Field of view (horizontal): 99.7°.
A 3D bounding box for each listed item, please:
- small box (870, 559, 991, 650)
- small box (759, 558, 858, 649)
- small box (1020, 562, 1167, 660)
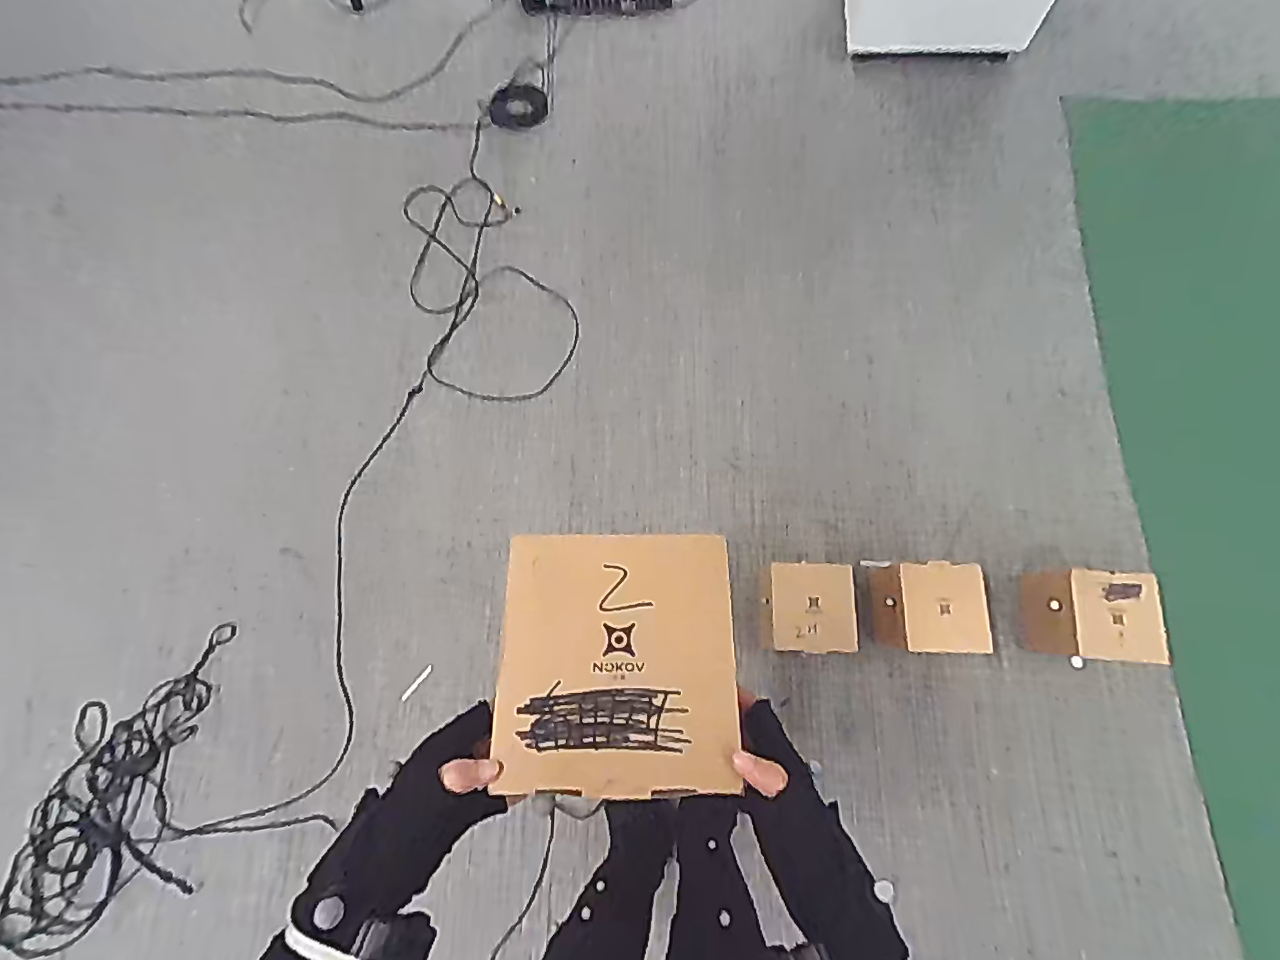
[{"bbox_3d":[0.607,0.267,1.152,0.168,0.176,0.179,0,74,3],"label":"small box"},{"bbox_3d":[0.352,0.267,1.160,0.168,0.176,0.179,1,75,4],"label":"small box"},{"bbox_3d":[0.932,0.275,1.132,0.168,0.176,0.179,4,76,4],"label":"small box"}]
